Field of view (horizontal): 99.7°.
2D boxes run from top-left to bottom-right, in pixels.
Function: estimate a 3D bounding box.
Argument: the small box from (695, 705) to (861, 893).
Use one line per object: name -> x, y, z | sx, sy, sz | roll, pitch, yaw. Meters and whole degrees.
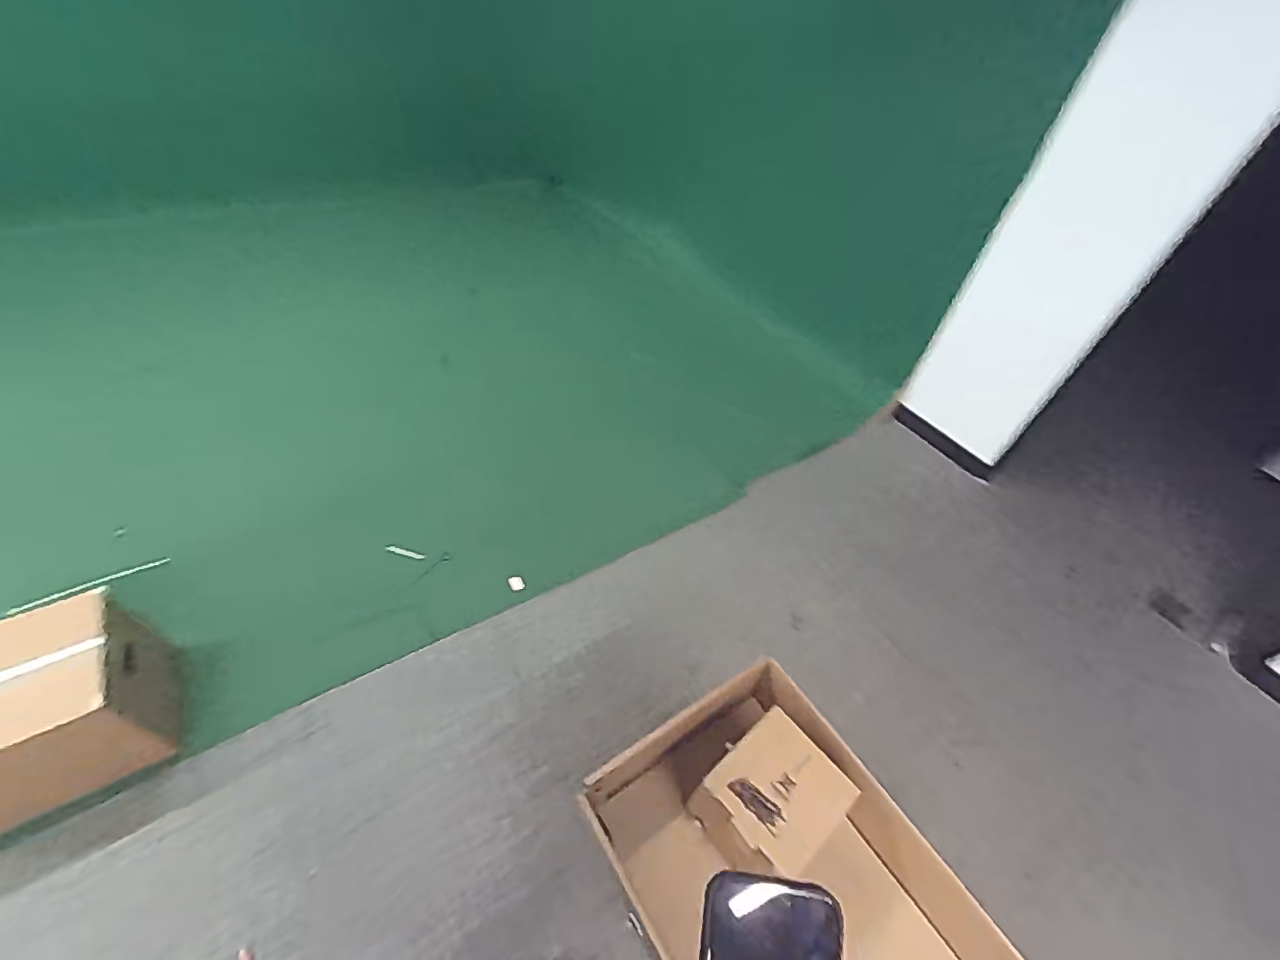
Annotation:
small box -> 0.202, 0.499, 0.845 | 0.179, 0.176, 0.168 | -29, 57, -30
